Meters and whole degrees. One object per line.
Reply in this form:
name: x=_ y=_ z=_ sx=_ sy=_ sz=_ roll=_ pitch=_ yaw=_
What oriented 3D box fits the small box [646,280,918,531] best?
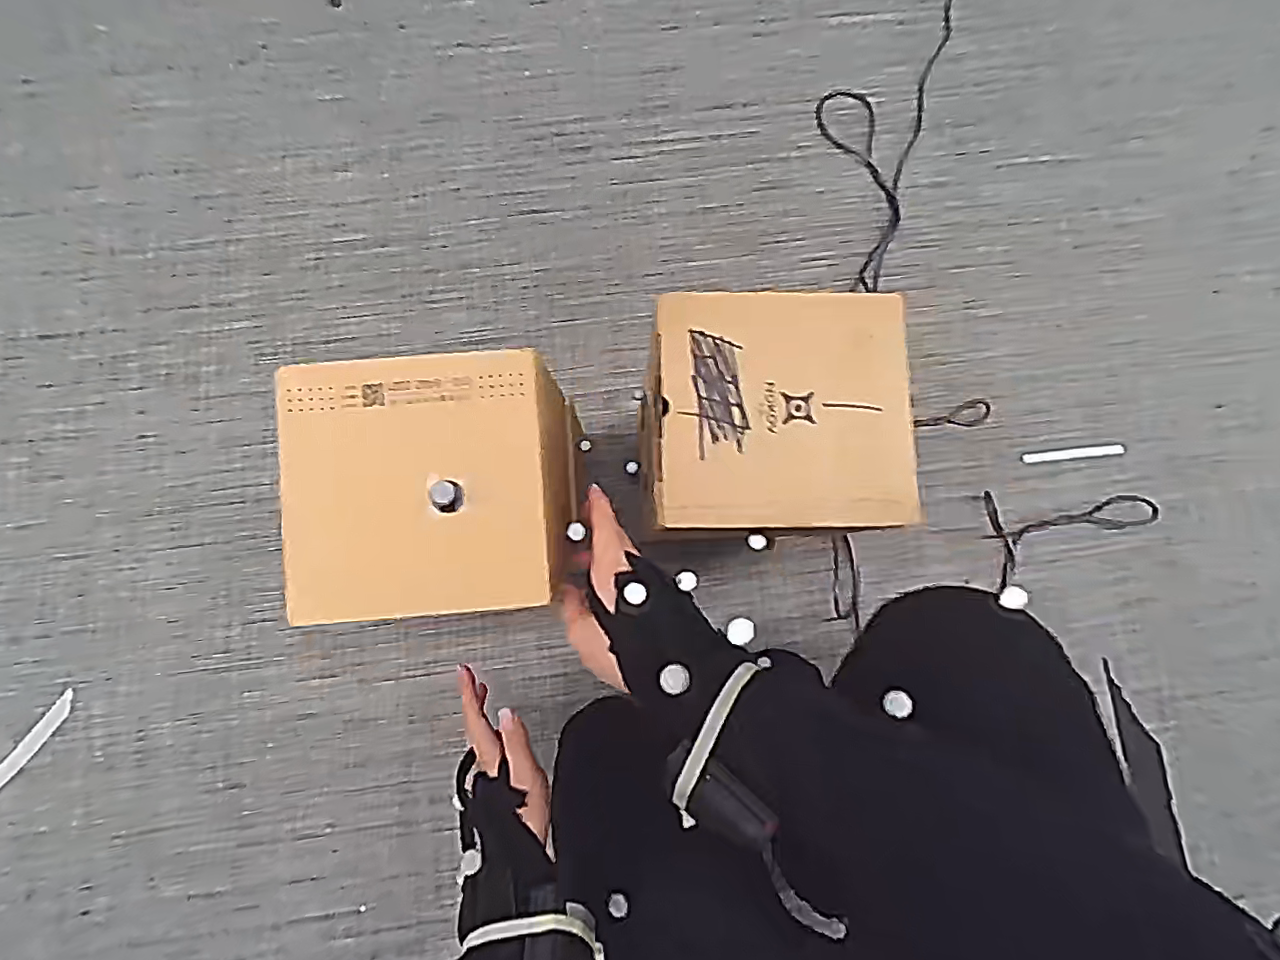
small box: x=0.094 y=-0.045 z=0.444 sx=0.179 sy=0.176 sz=0.168 roll=0 pitch=82 yaw=-3

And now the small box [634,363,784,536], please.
small box: x=0.085 y=-0.025 z=0.606 sx=0.179 sy=0.176 sz=0.168 roll=-1 pitch=81 yaw=-3
